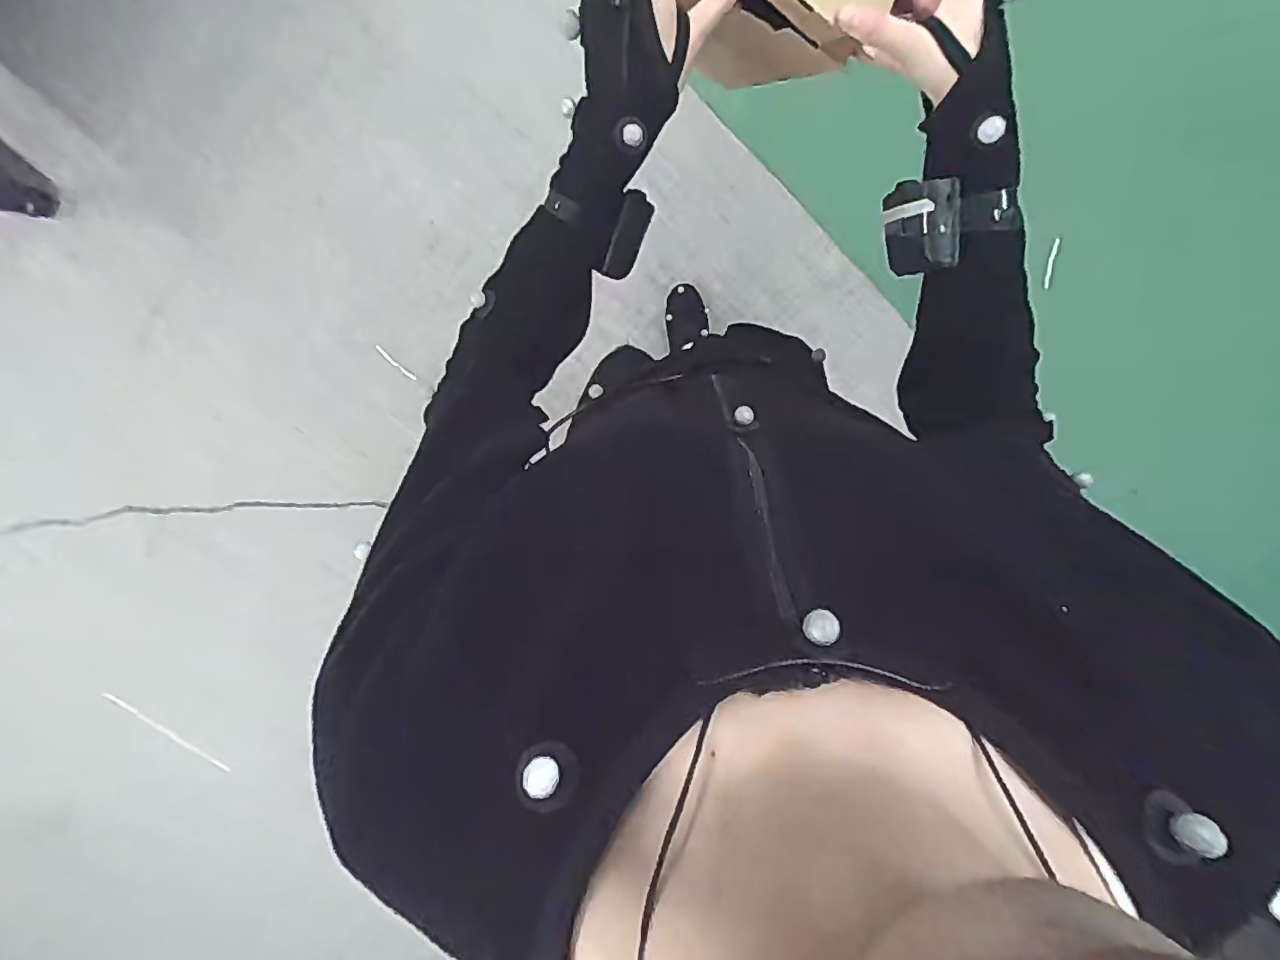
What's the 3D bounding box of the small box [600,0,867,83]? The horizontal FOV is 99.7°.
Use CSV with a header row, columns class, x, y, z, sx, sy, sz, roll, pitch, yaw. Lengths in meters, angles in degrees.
class,x,y,z,sx,sy,sz,roll,pitch,yaw
small box,0.073,-0.423,0.390,0.168,0.176,0.179,8,114,-31
